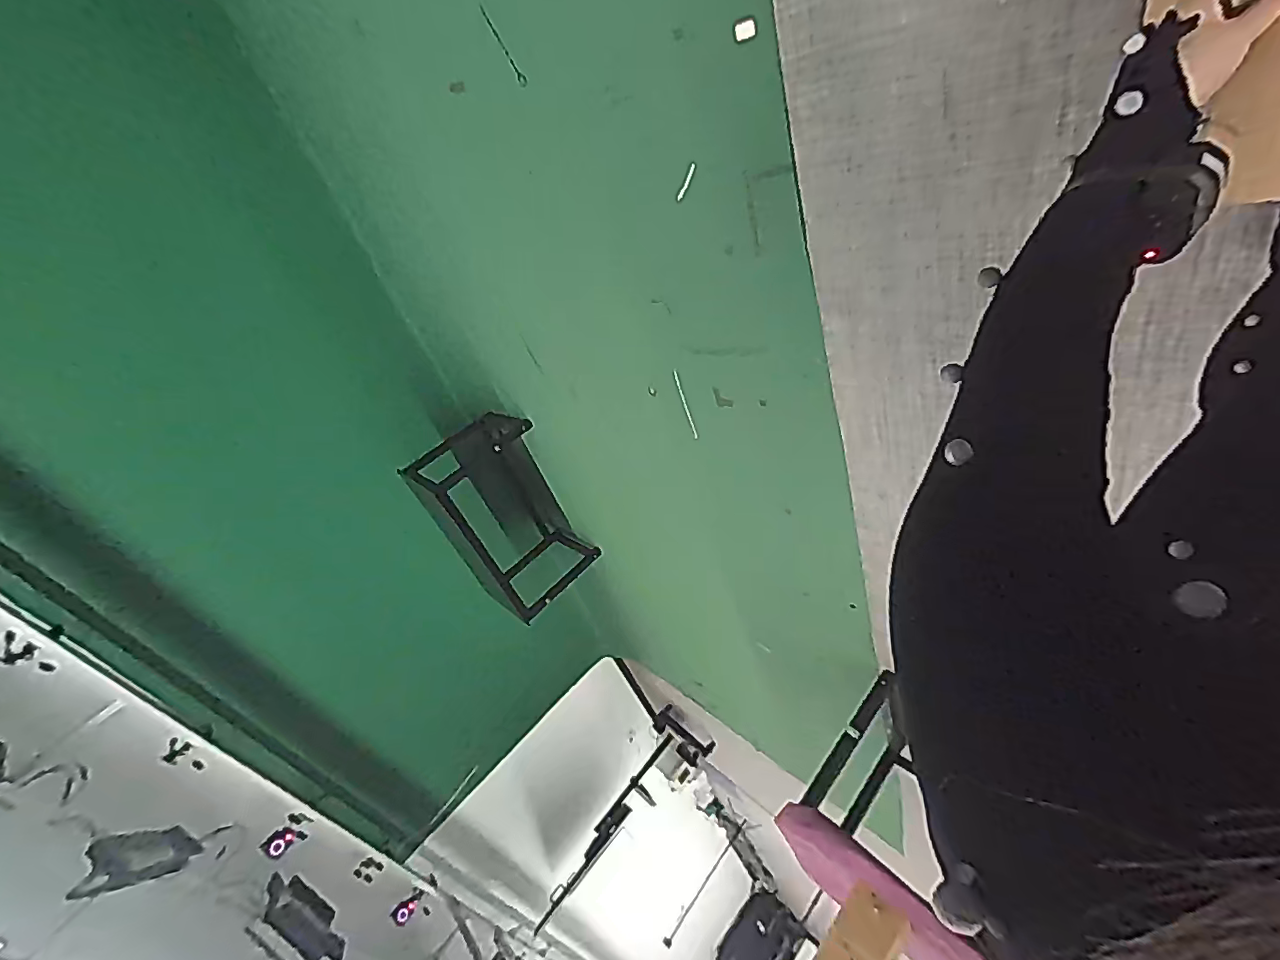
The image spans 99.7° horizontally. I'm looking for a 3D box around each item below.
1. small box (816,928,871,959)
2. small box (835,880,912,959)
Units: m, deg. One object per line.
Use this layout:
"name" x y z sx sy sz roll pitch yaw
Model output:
"small box" 0.643 1.543 1.664 0.168 0.176 0.179 18 141 46
"small box" 0.752 1.441 1.730 0.168 0.176 0.179 19 141 46
